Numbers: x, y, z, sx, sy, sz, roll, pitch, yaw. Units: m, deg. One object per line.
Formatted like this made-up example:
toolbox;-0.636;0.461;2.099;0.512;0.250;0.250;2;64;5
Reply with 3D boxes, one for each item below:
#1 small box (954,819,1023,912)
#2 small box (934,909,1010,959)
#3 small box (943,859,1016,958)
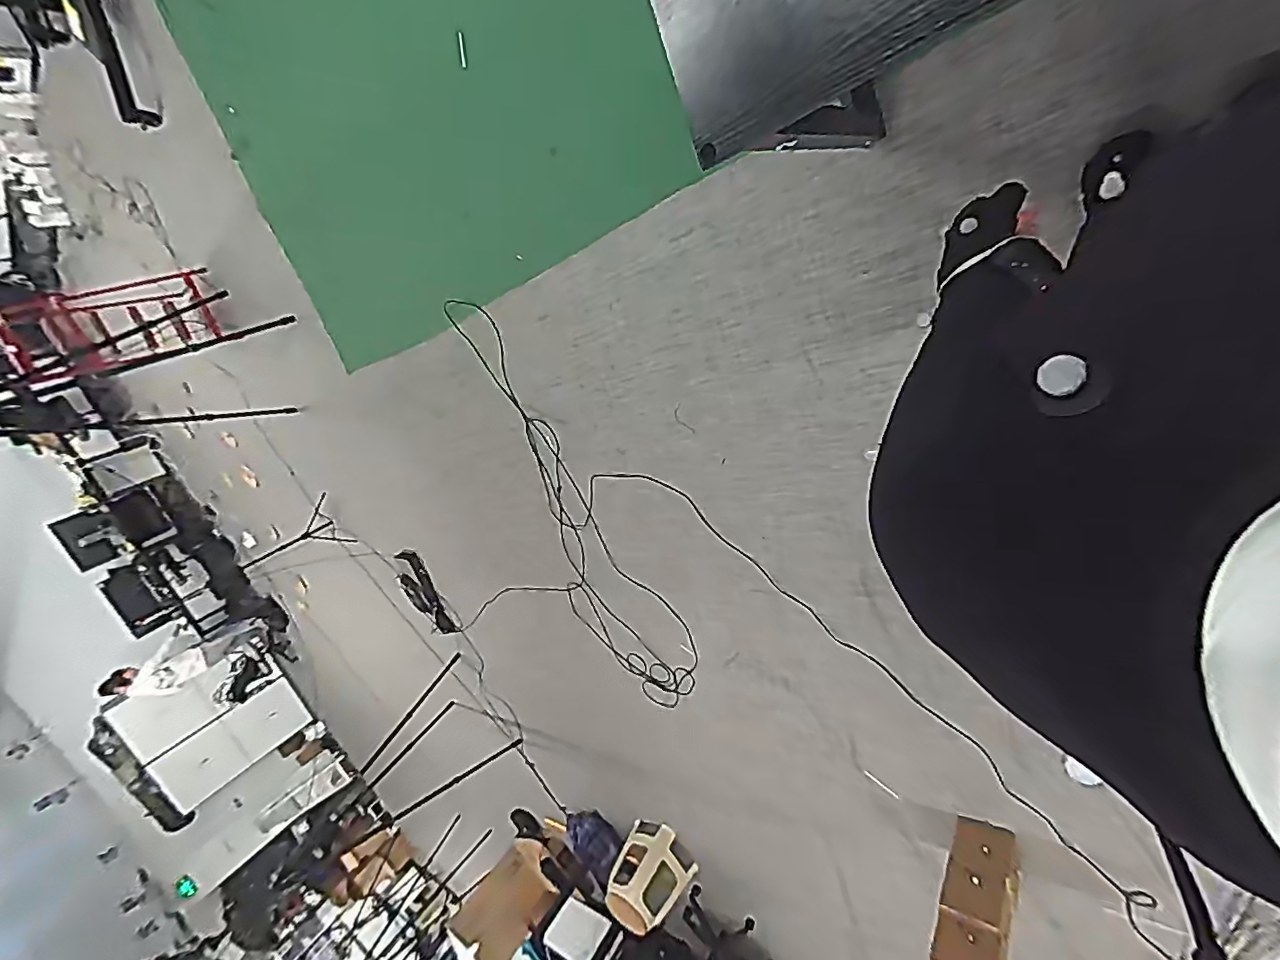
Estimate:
small box;1.184;1.296;1.832;0.179;0.176;0.168;-5;112;41
small box;0.996;1.446;1.610;0.168;0.176;0.179;-4;112;41
small box;1.085;1.368;1.721;0.168;0.176;0.179;-4;113;41
